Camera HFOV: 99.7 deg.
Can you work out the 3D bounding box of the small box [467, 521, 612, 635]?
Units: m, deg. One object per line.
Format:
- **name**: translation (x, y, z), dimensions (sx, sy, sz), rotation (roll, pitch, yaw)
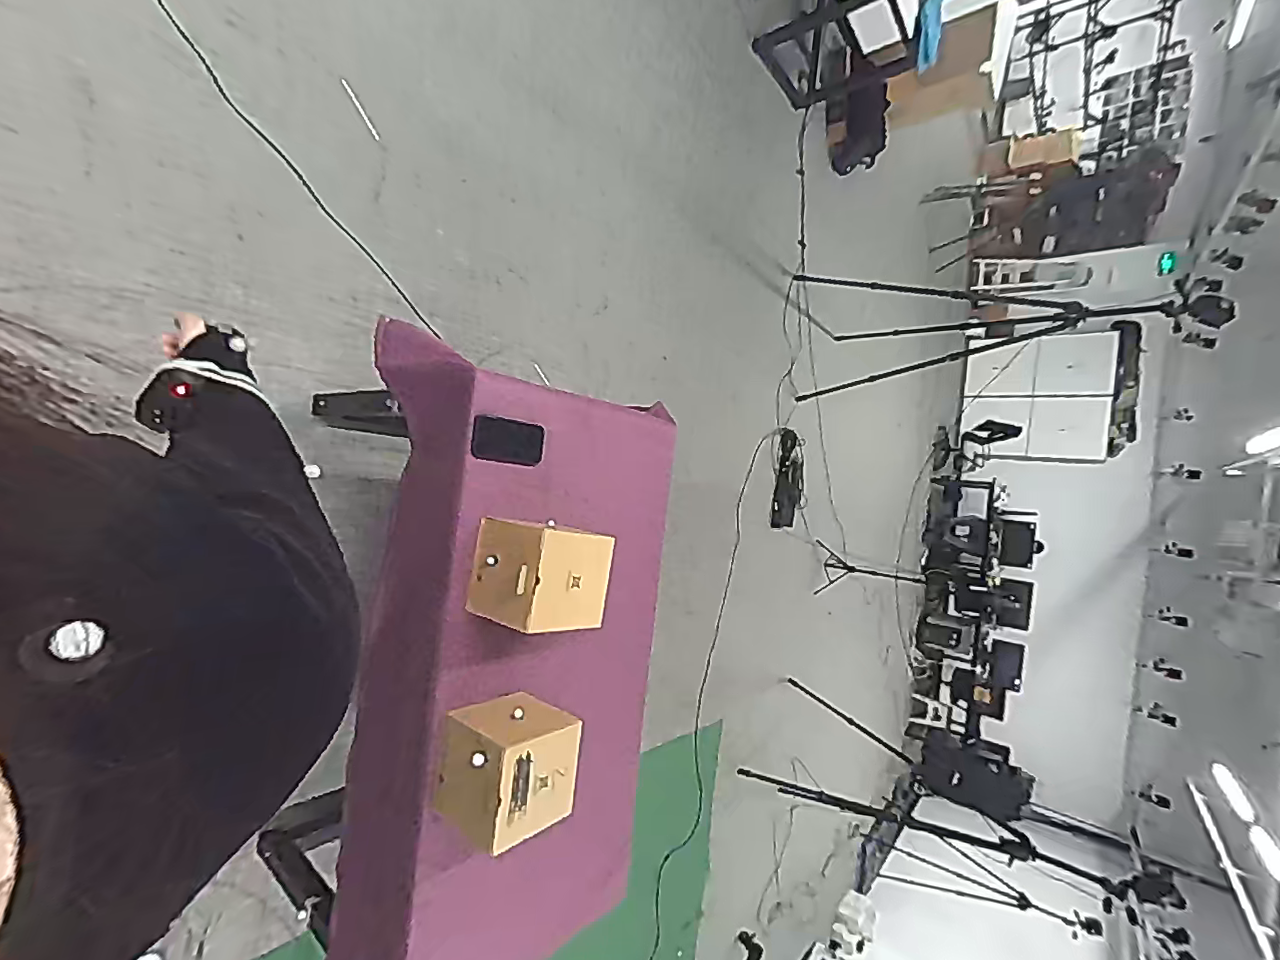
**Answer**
- **small box**: translation (-0.179, 0.170, 0.971), dimensions (0.179, 0.176, 0.168), rotation (14, 84, -51)
